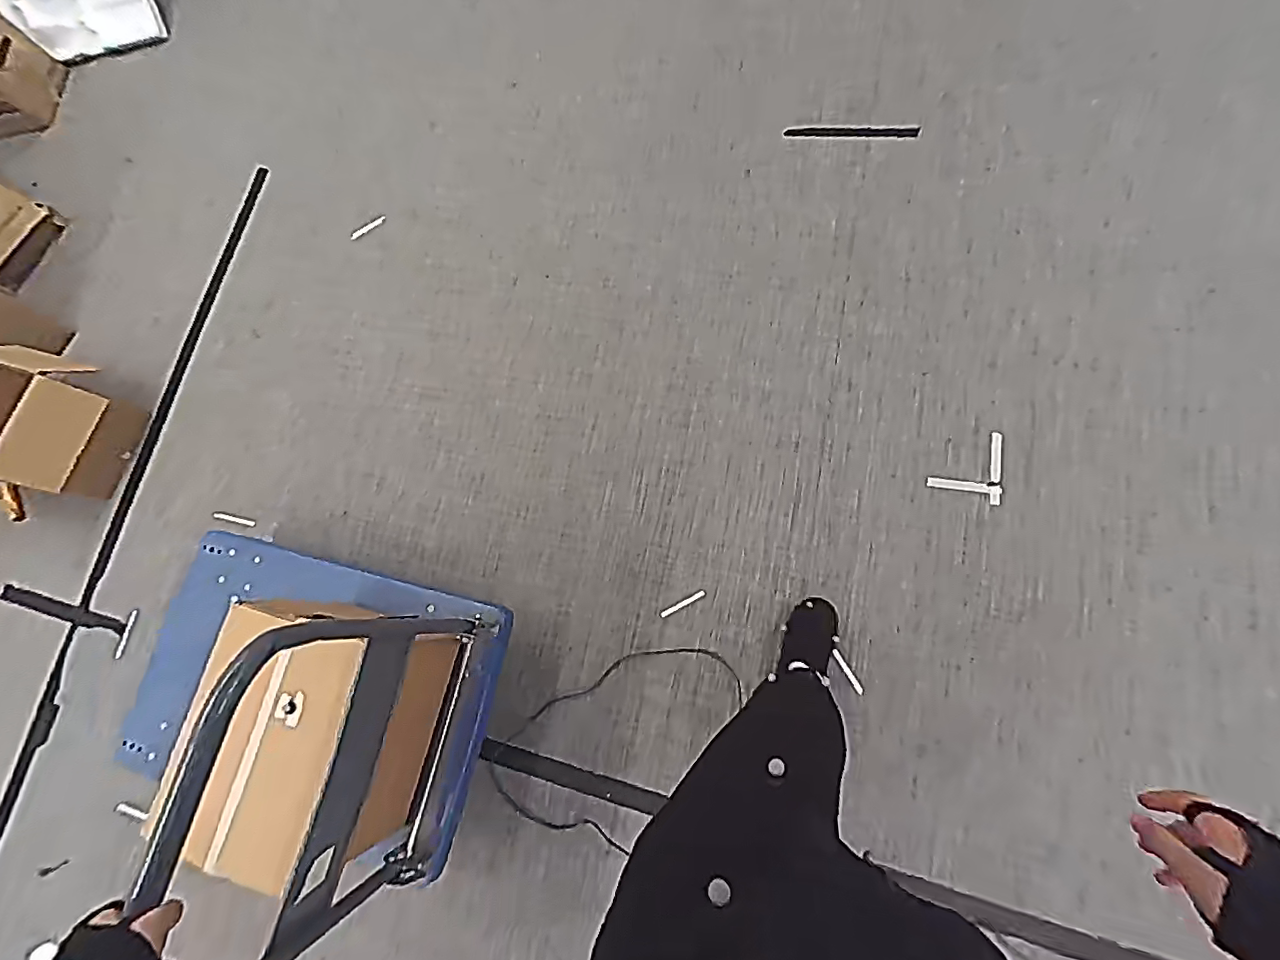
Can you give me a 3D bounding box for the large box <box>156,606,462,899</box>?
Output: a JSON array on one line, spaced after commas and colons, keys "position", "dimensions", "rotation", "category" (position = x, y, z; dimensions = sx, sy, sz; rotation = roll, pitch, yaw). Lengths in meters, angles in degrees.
[{"position": [-0.611, 0.489, 1.068], "dimensions": [0.320, 0.320, 0.408], "rotation": [11, 77, 12], "category": "large box"}]
